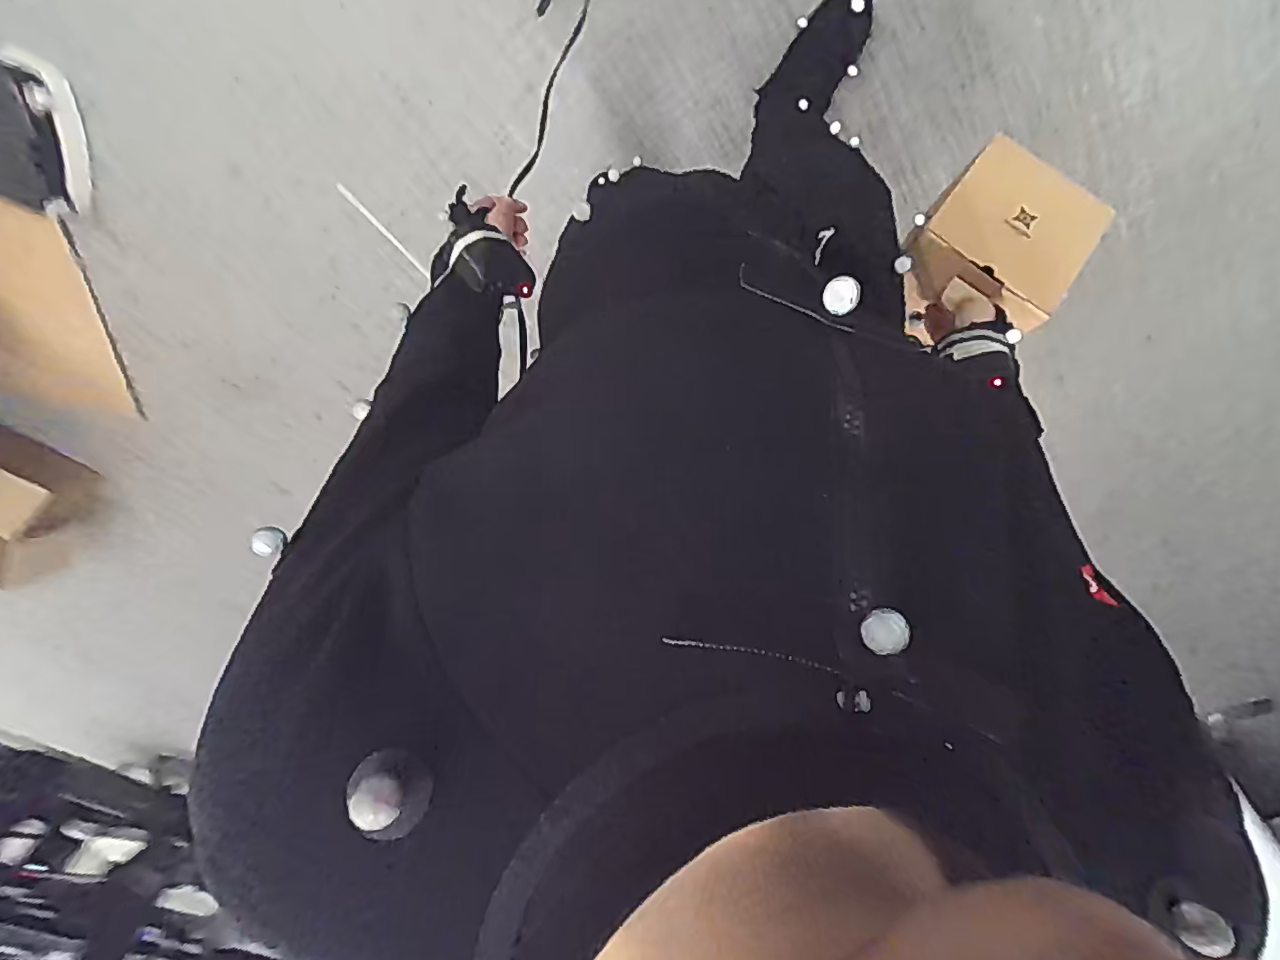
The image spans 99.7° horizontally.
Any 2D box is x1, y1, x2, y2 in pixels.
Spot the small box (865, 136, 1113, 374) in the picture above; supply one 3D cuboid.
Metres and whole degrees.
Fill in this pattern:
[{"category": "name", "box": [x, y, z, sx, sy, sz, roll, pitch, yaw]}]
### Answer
[{"category": "small box", "box": [0.420, -0.270, 0.681, 0.168, 0.179, 0.176, 37, 167, 4]}]
